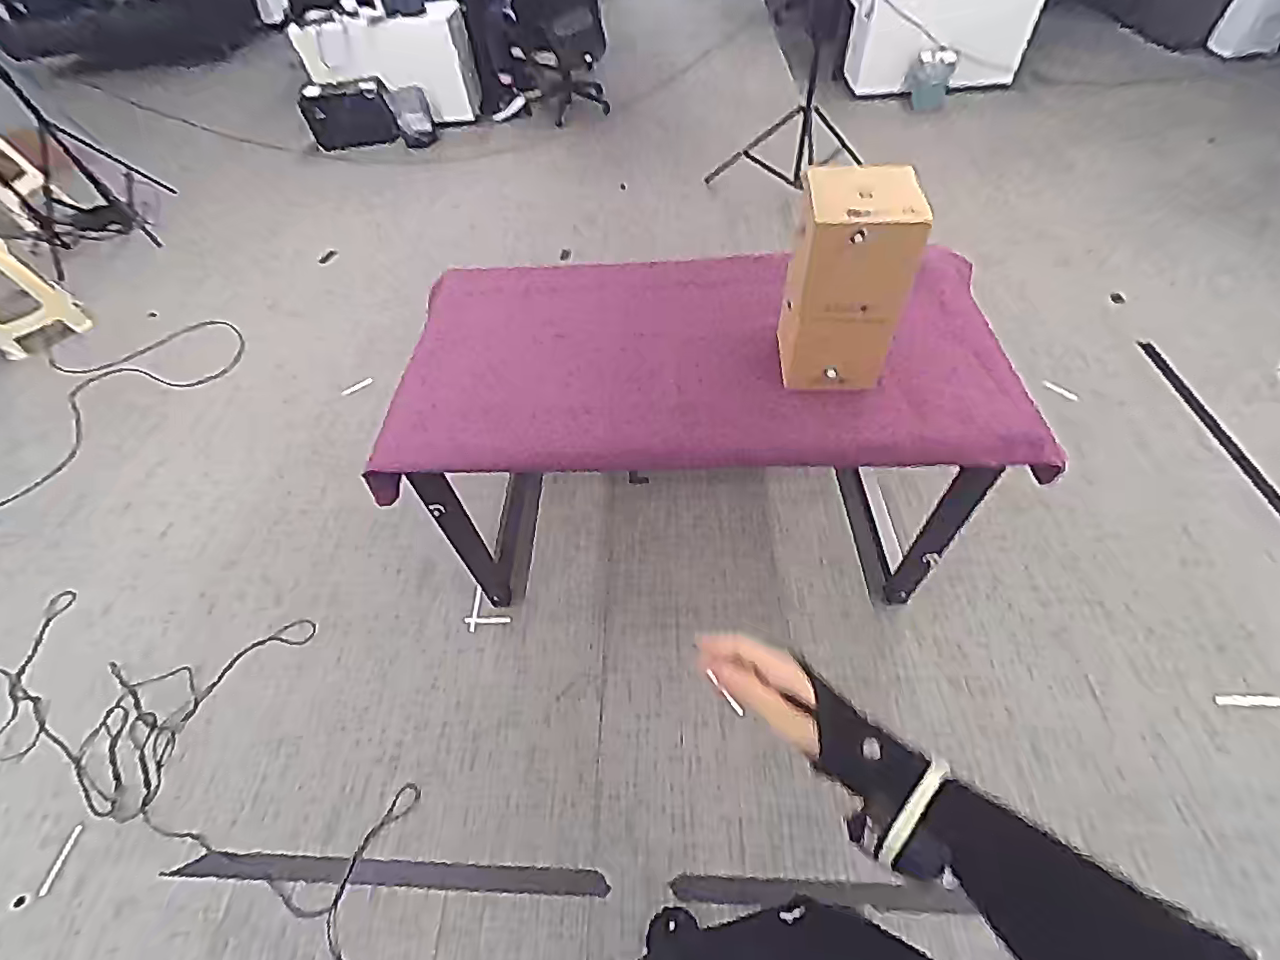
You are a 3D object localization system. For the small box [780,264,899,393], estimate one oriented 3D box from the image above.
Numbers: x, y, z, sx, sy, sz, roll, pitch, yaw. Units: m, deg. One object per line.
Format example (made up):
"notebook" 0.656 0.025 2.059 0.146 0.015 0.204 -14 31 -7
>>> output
"small box" 0.361 -0.286 1.018 0.168 0.176 0.179 1 53 6

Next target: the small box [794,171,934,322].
"small box" 0.350 -0.381 0.885 0.168 0.176 0.179 3 52 8
